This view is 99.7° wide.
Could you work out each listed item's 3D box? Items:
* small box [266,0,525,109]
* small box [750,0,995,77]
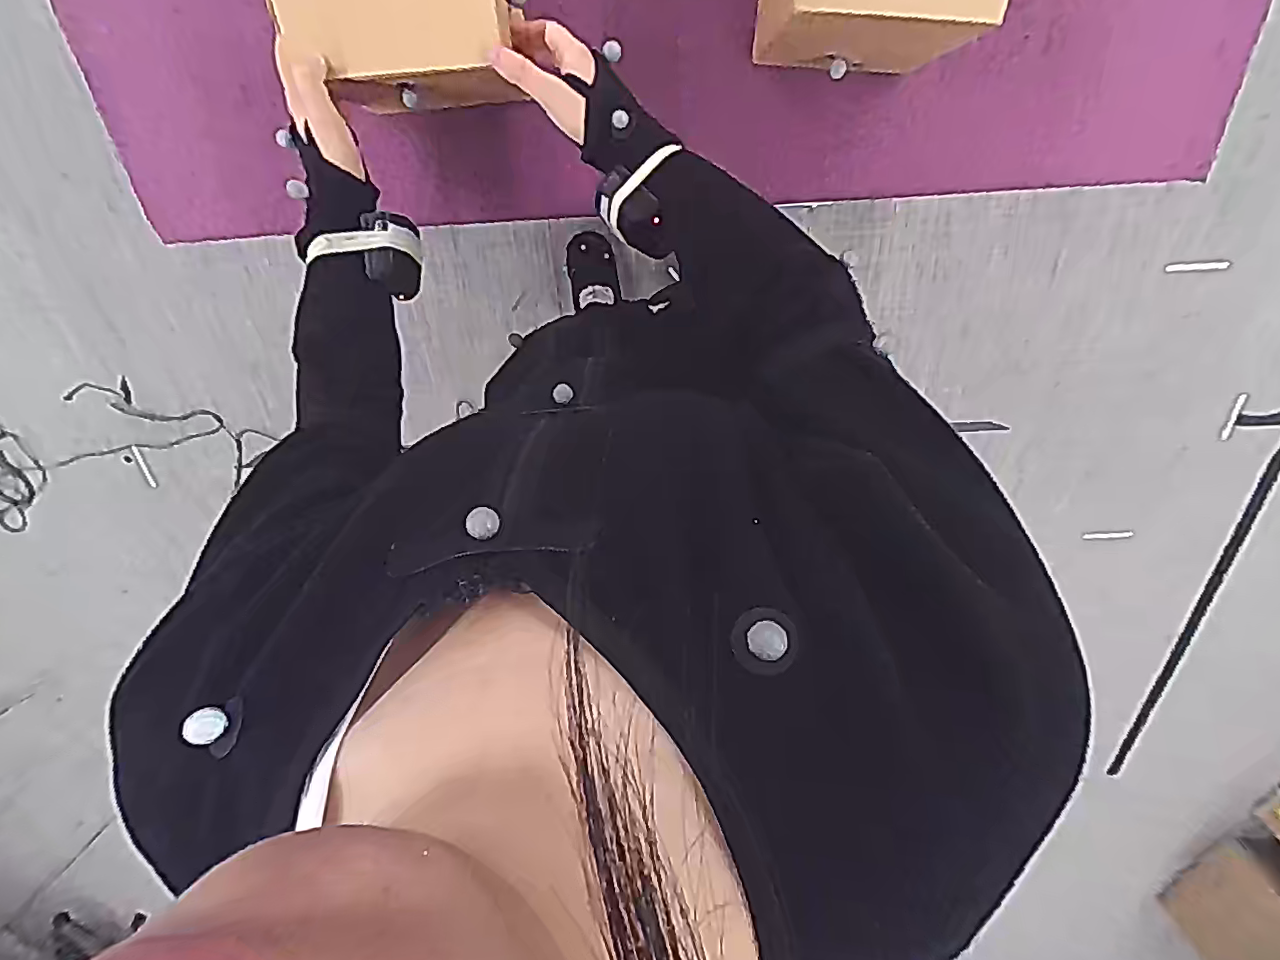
[{"bbox_3d":[-0.205,-0.436,0.471,0.179,0.176,0.168,-4,118,2],"label":"small box"},{"bbox_3d":[0.197,-0.471,0.457,0.168,0.176,0.179,3,117,-2],"label":"small box"}]
